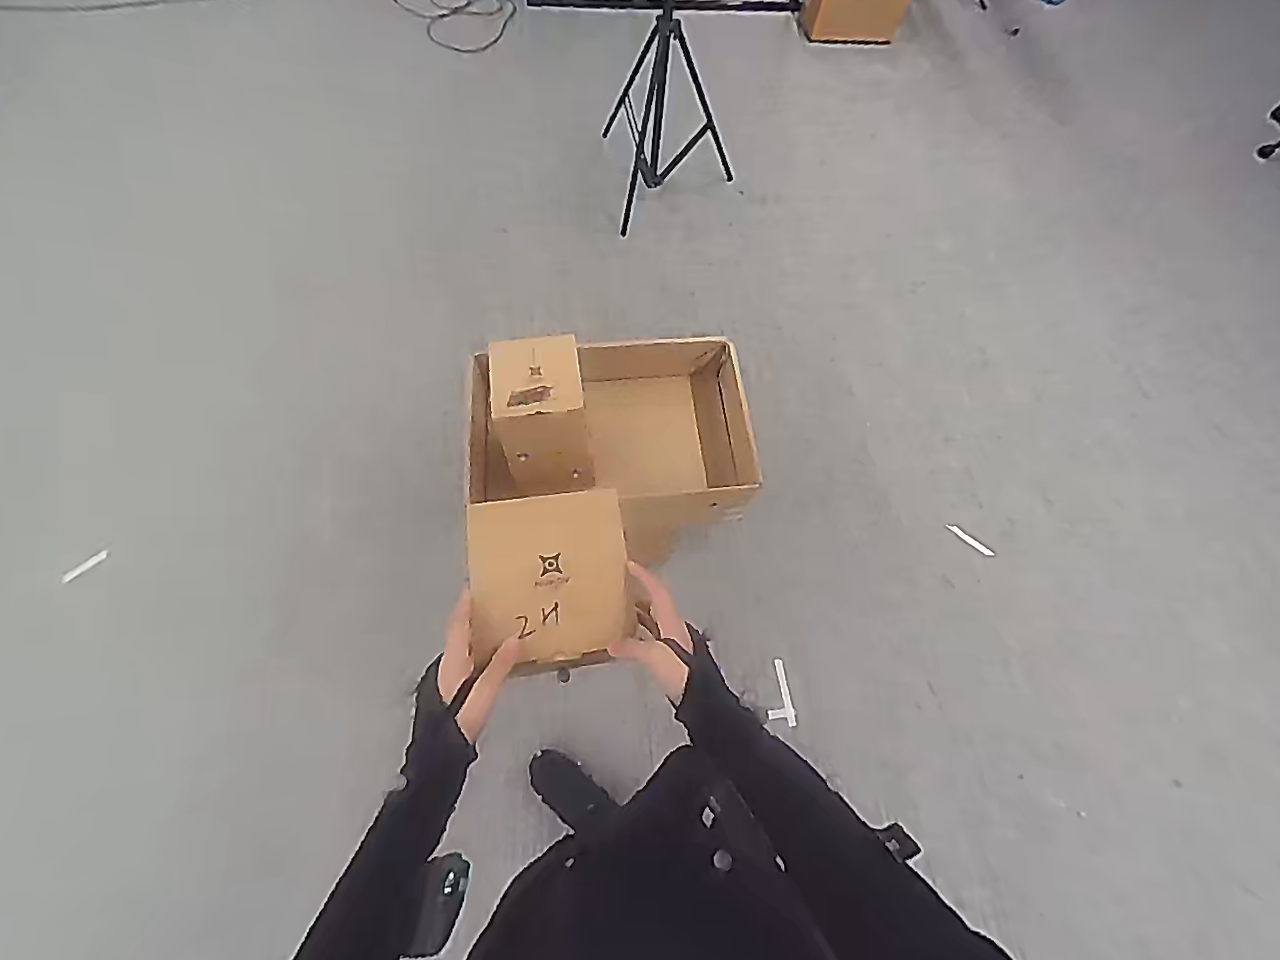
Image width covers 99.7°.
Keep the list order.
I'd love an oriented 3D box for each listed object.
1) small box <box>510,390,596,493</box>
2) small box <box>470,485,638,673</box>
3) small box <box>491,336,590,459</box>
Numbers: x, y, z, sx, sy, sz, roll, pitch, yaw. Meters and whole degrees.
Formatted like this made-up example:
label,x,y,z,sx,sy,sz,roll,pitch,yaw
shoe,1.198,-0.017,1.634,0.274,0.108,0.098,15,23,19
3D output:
label,x,y,z,sx,sy,sz,roll,pitch,yaw
small box,-0.193,-0.080,1.205,0.179,0.176,0.168,-9,66,-6
small box,-0.101,0.122,0.634,0.168,0.176,0.179,-6,69,-8
small box,-0.190,-0.153,1.058,0.168,0.176,0.179,-7,64,-6
